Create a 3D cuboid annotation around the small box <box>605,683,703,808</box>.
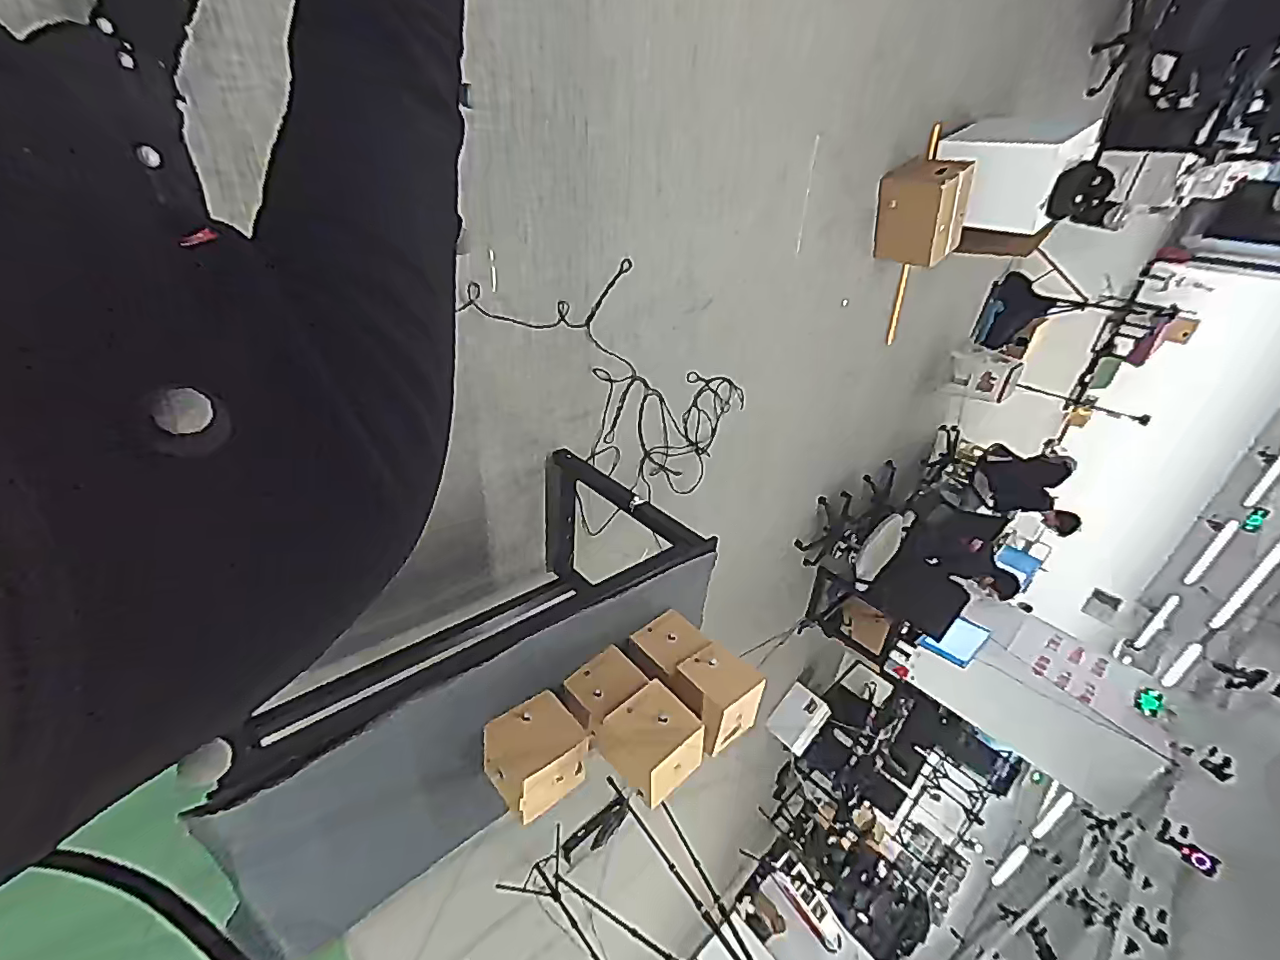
[{"bbox_3d":[0.030,0.610,1.269,0.168,0.176,0.179,-27,133,-32],"label":"small box"}]
